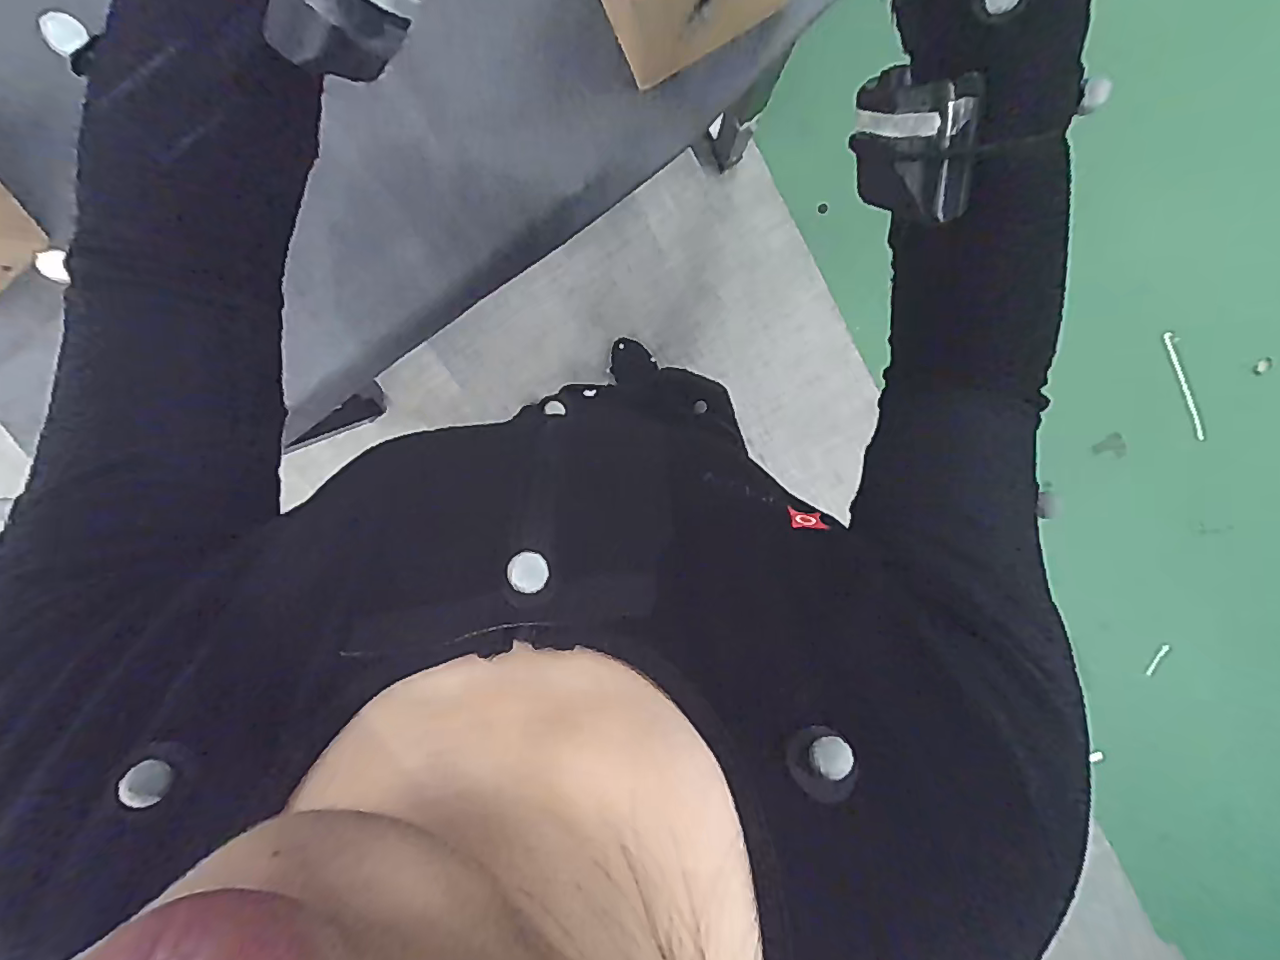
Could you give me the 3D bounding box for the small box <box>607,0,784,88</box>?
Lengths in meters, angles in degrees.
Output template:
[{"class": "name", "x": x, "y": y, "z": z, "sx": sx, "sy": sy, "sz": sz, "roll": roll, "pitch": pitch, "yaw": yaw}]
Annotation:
[{"class": "small box", "x": 0.041, "y": -0.515, "z": 0.497, "sx": 0.179, "sy": 0.176, "sz": 0.168, "roll": -25, "pitch": 101, "yaw": 10}]
